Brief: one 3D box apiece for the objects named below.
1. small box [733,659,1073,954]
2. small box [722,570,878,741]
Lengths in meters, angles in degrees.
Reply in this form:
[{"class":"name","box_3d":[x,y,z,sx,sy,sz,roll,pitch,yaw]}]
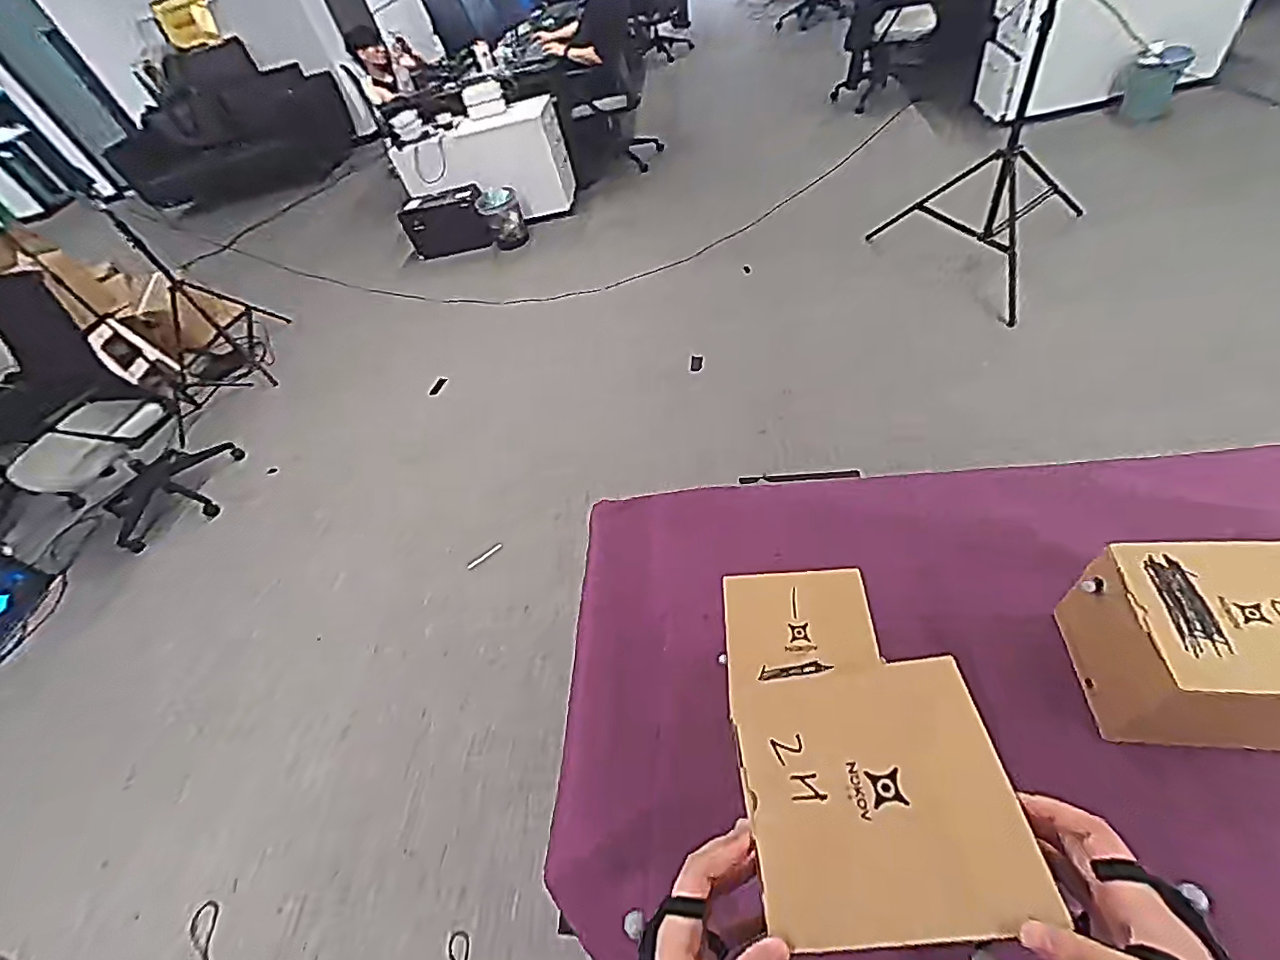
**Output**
[{"class":"small box","box_3d":[0.177,0.262,0.429,0.179,0.176,0.168,-10,48,7]},{"class":"small box","box_3d":[0.195,0.233,0.672,0.168,0.176,0.179,-5,49,11]}]
